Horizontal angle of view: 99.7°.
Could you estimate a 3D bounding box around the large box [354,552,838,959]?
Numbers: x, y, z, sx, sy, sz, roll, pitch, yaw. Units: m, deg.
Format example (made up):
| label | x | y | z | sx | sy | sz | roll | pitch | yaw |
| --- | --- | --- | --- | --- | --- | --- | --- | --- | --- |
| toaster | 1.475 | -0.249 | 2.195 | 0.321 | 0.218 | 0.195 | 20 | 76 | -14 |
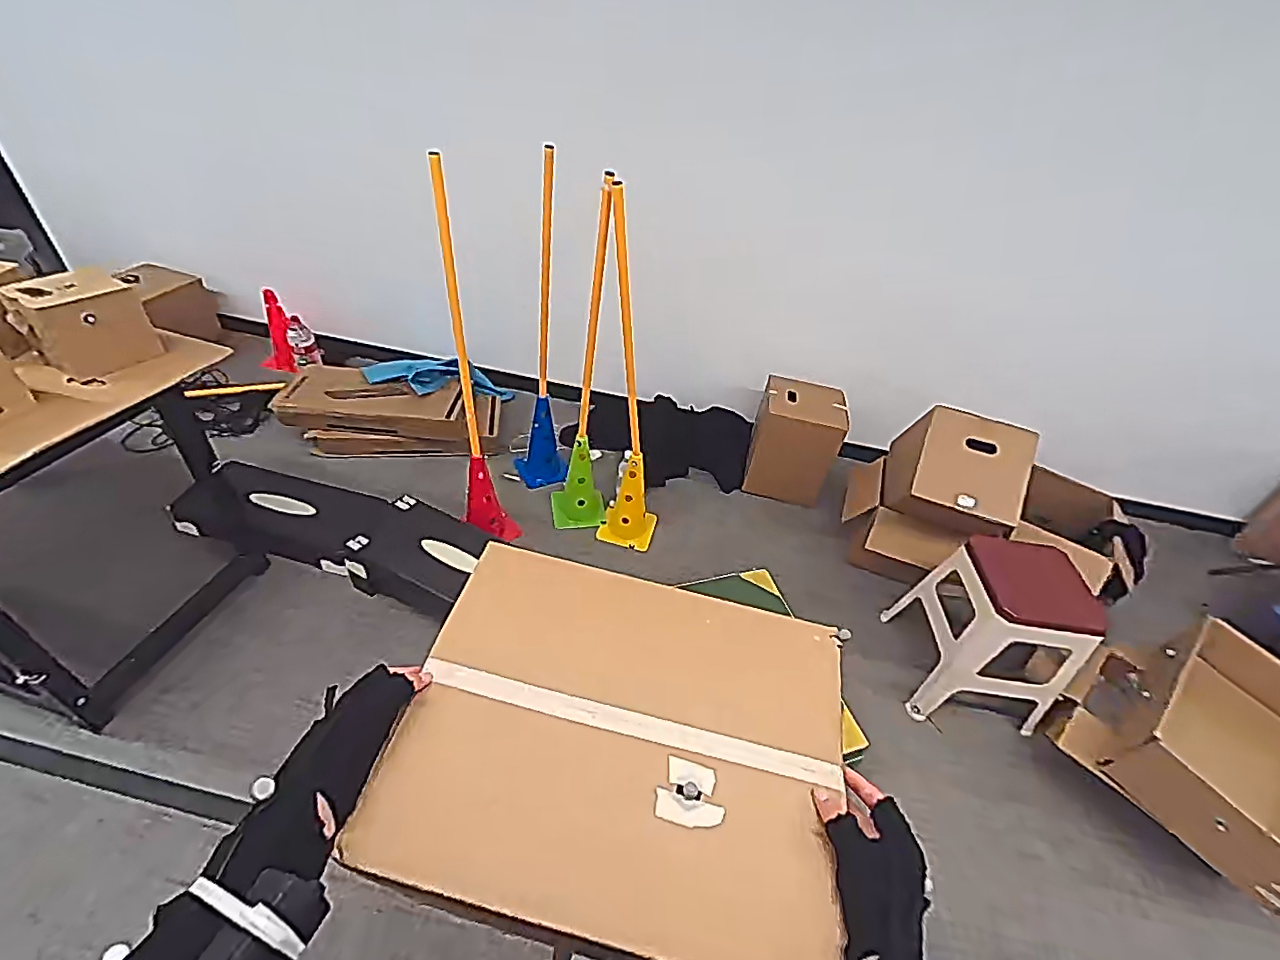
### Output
| label | x | y | z | sx | sy | sz | roll | pitch | yaw |
| --- | --- | --- | --- | --- | --- | --- | --- | --- | --- |
| large box | -0.029 | 0.333 | 0.633 | 0.408 | 0.320 | 0.320 | 14 | 48 | 4 |
